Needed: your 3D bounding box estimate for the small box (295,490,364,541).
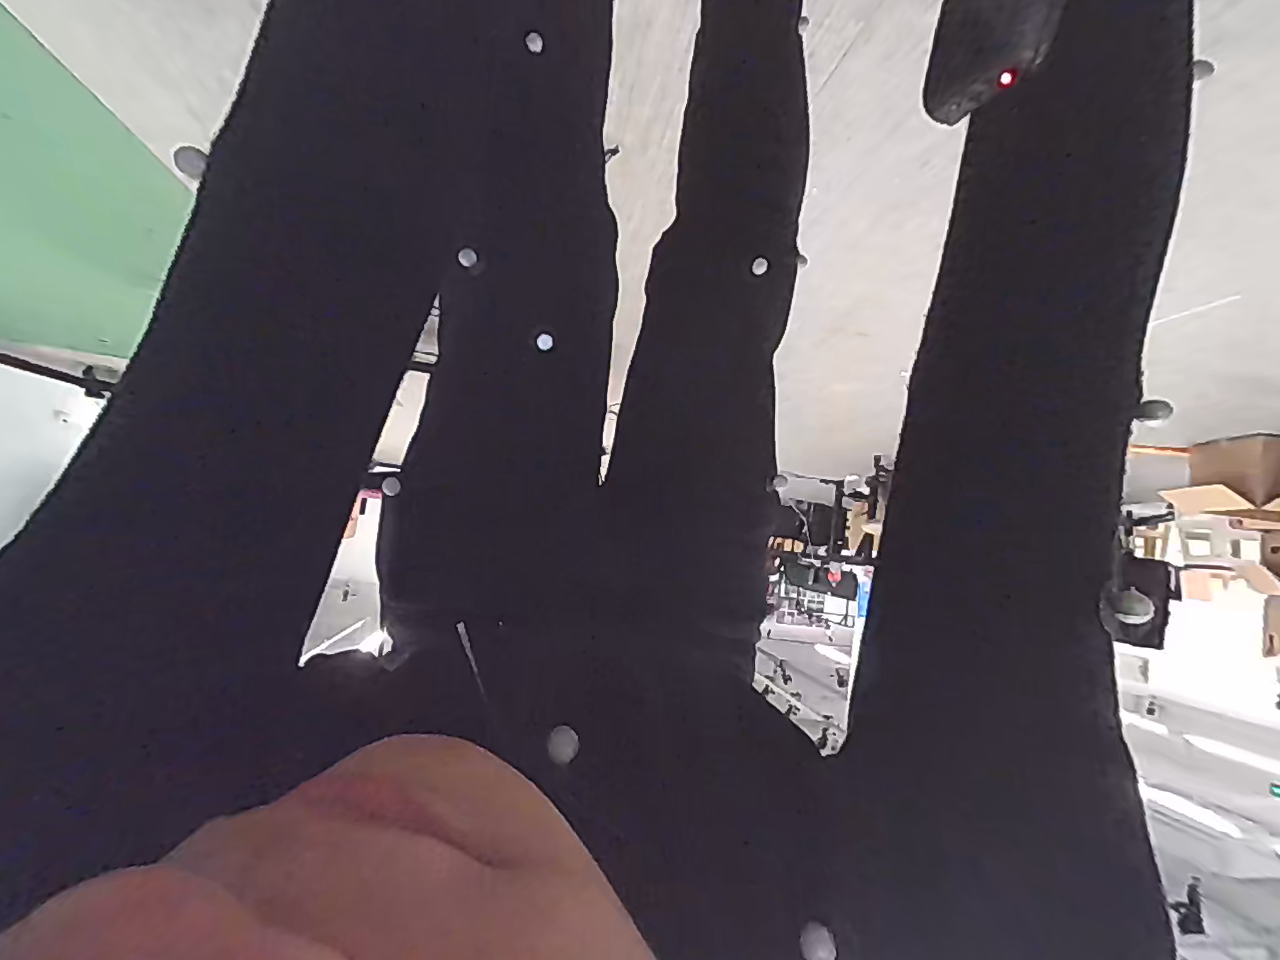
[{"bbox_3d":[-1.165,0.133,2.043,0.168,0.176,0.179,7,176,-9],"label":"small box"}]
